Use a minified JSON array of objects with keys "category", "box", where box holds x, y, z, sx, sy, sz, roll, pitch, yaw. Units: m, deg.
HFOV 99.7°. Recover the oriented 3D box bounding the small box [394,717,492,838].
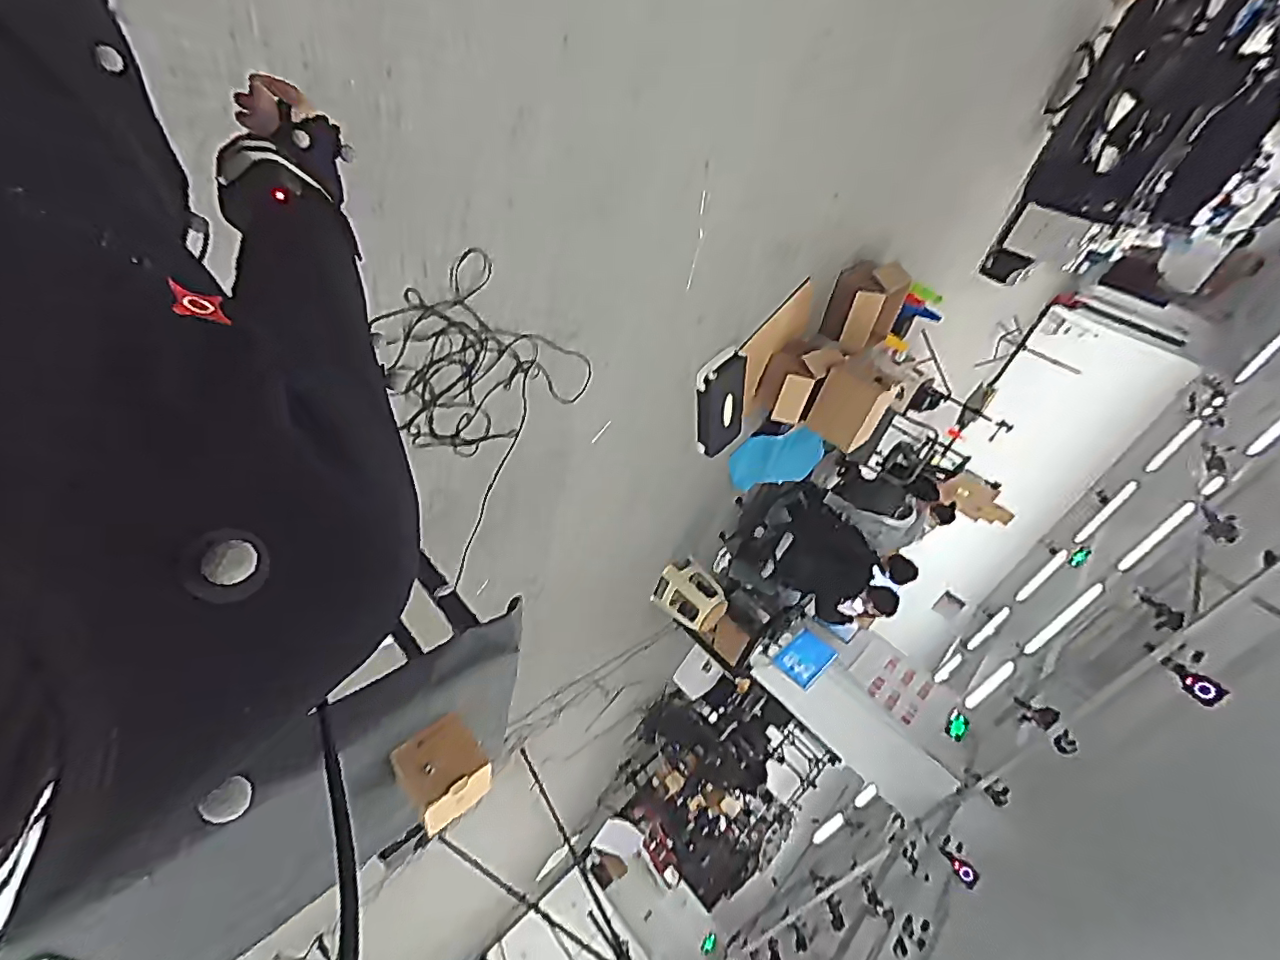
[{"category":"small box","box":[-0.475,0.707,1.304,0.168,0.176,0.179,-26,145,-36]}]
